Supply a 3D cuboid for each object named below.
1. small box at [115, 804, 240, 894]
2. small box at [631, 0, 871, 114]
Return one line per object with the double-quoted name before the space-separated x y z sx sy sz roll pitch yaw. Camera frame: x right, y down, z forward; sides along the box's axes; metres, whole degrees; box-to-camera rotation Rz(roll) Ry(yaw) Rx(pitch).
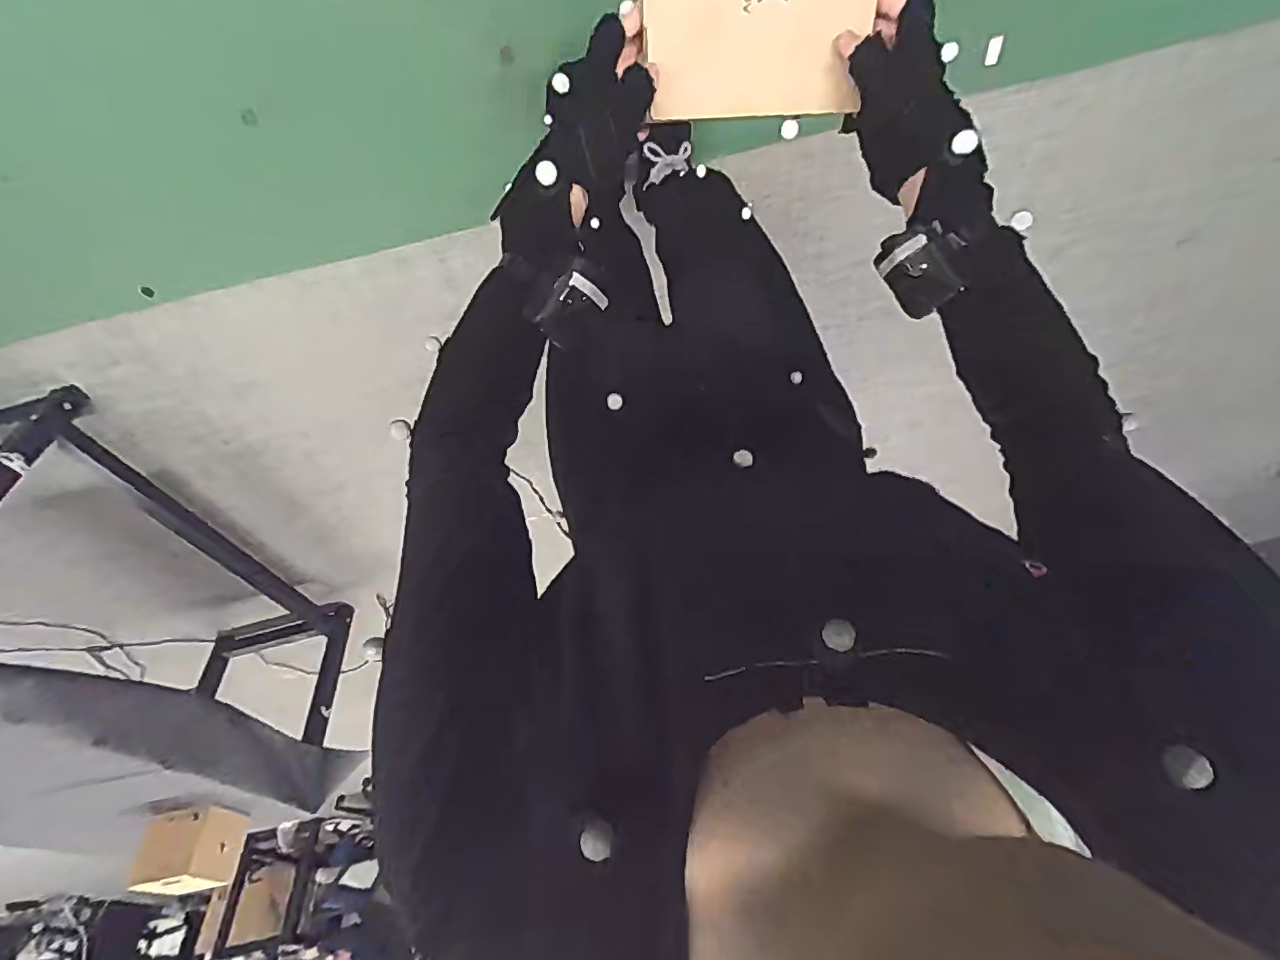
"small box" -1.259 1.012 1.488 0.168 0.176 0.179 -12 138 0
"small box" 0.083 -0.413 0.459 0.179 0.176 0.168 -2 124 -1
